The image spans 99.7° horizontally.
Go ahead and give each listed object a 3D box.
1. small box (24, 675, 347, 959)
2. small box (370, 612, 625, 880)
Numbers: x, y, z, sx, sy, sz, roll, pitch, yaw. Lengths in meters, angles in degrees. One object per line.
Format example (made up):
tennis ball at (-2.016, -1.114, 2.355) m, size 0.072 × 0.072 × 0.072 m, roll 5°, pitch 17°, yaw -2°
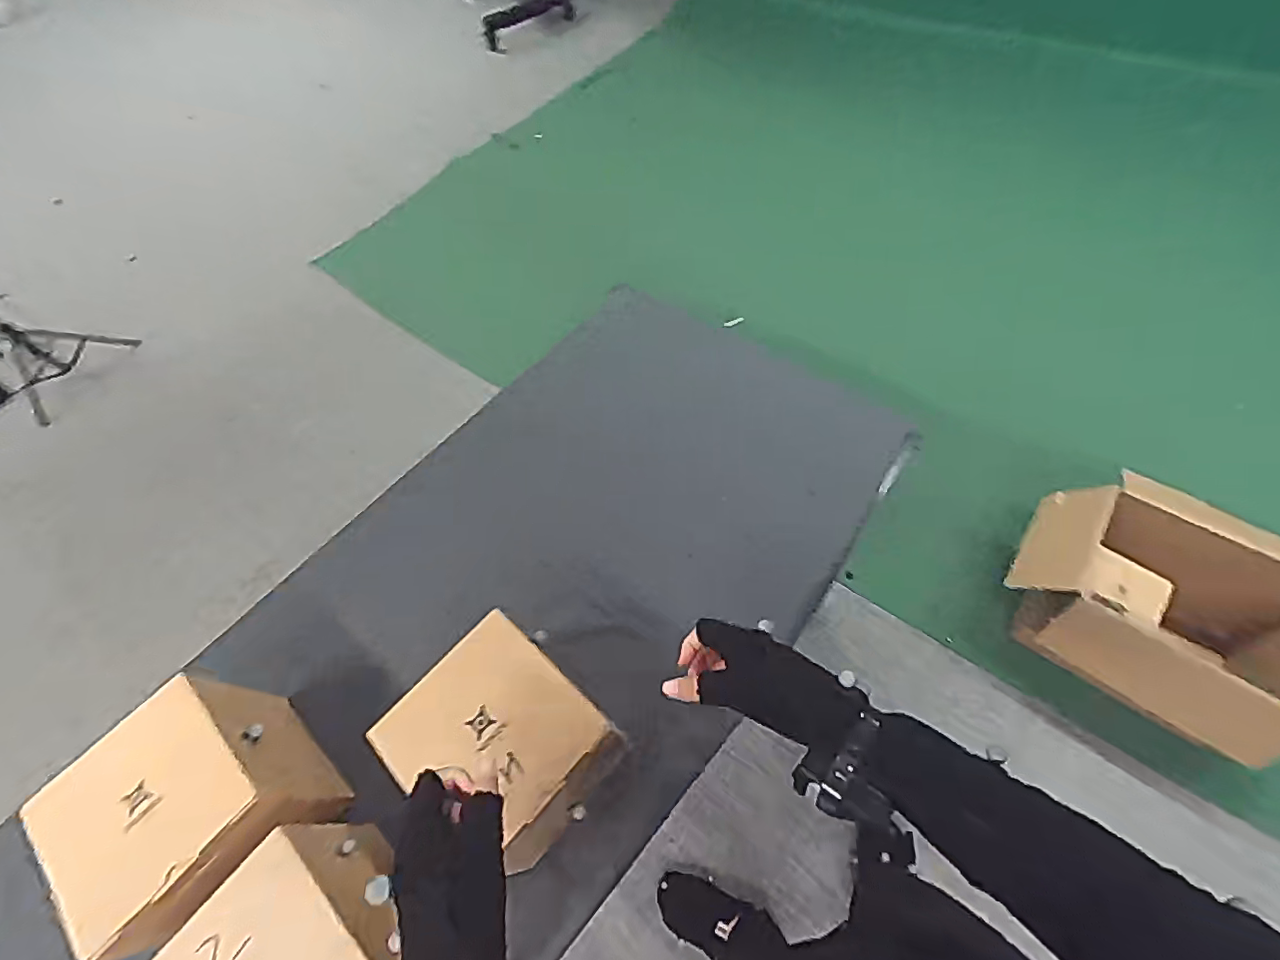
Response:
small box at (-0.463, 0.345, 0.577) m, size 0.179 × 0.176 × 0.168 m, roll 35°, pitch 69°, yaw 23°
small box at (-0.137, 0.279, 0.577) m, size 0.179 × 0.176 × 0.168 m, roll 37°, pitch 69°, yaw 25°
